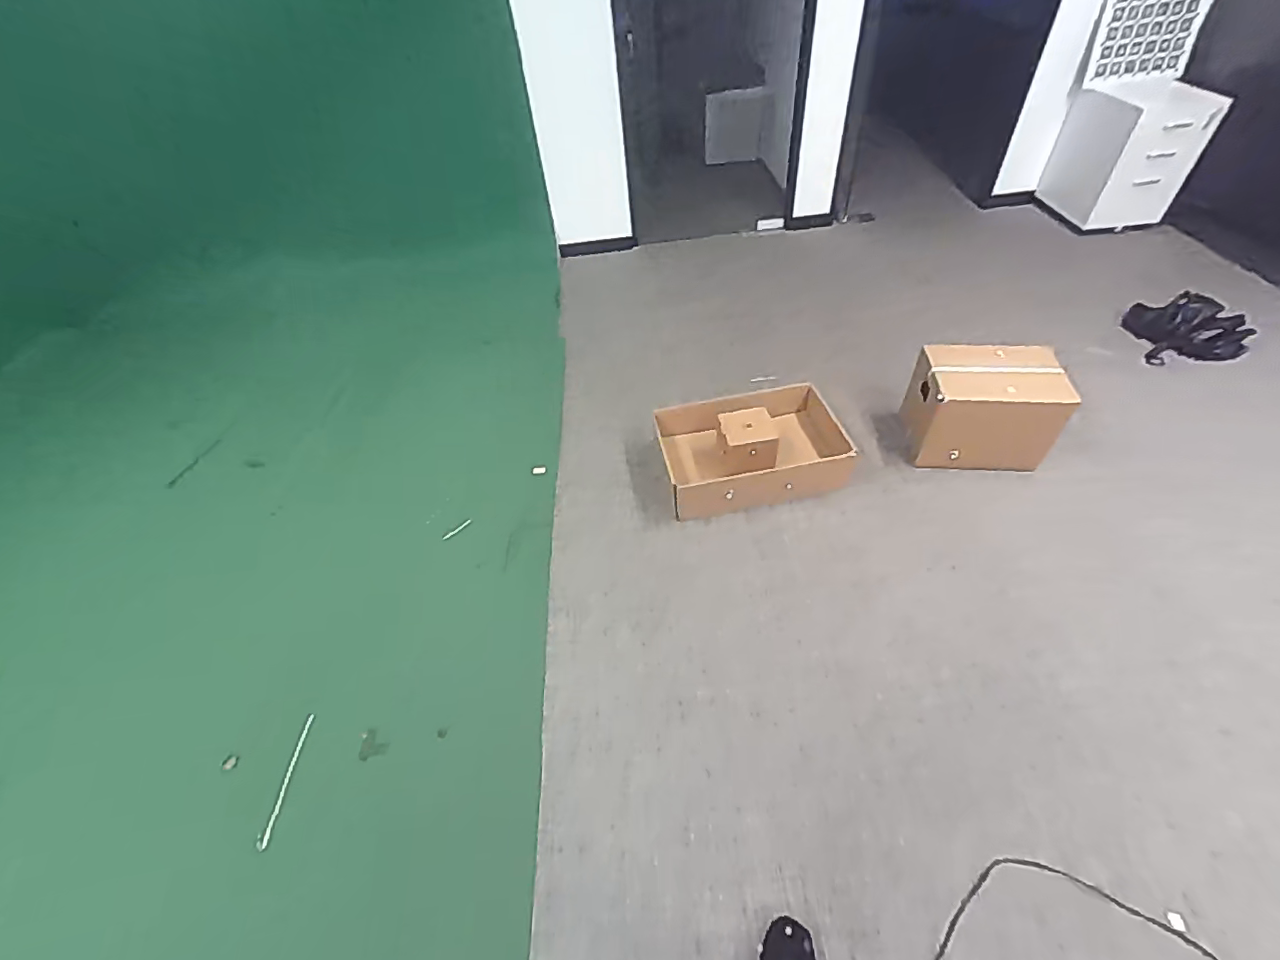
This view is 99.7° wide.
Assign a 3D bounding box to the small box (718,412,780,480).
[{"bbox_3d":[0.379,-0.116,1.912,0.179,0.176,0.168,-9,47,-4],"label":"small box"}]
